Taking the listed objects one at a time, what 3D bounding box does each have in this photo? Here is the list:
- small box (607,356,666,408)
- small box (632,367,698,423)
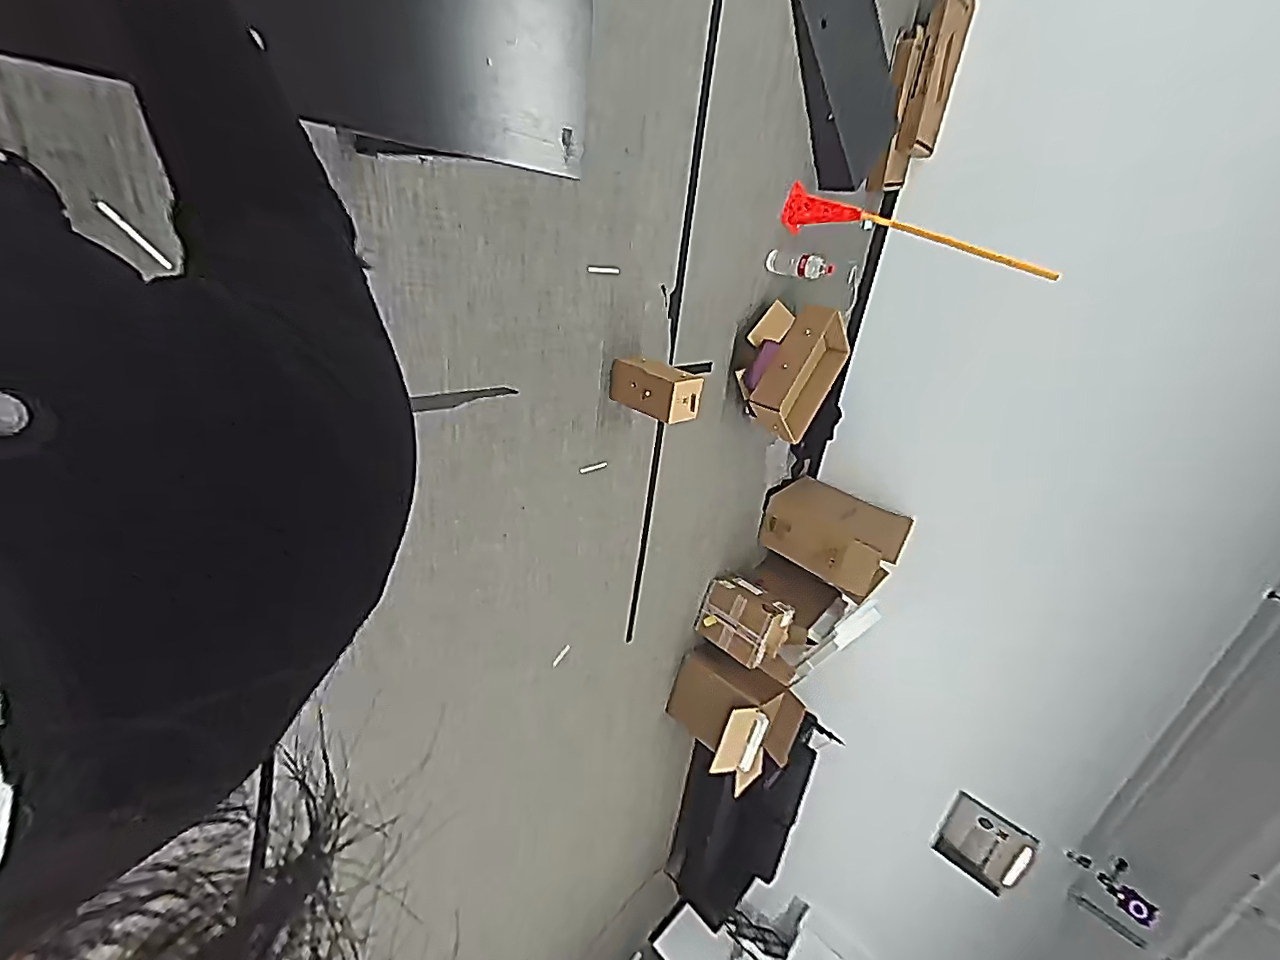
[{"bbox_3d":[-0.019,-0.403,2.207,0.168,0.176,0.179,-18,126,-44],"label":"small box"},{"bbox_3d":[0.096,-0.338,2.110,0.179,0.176,0.168,-18,125,-44],"label":"small box"}]
